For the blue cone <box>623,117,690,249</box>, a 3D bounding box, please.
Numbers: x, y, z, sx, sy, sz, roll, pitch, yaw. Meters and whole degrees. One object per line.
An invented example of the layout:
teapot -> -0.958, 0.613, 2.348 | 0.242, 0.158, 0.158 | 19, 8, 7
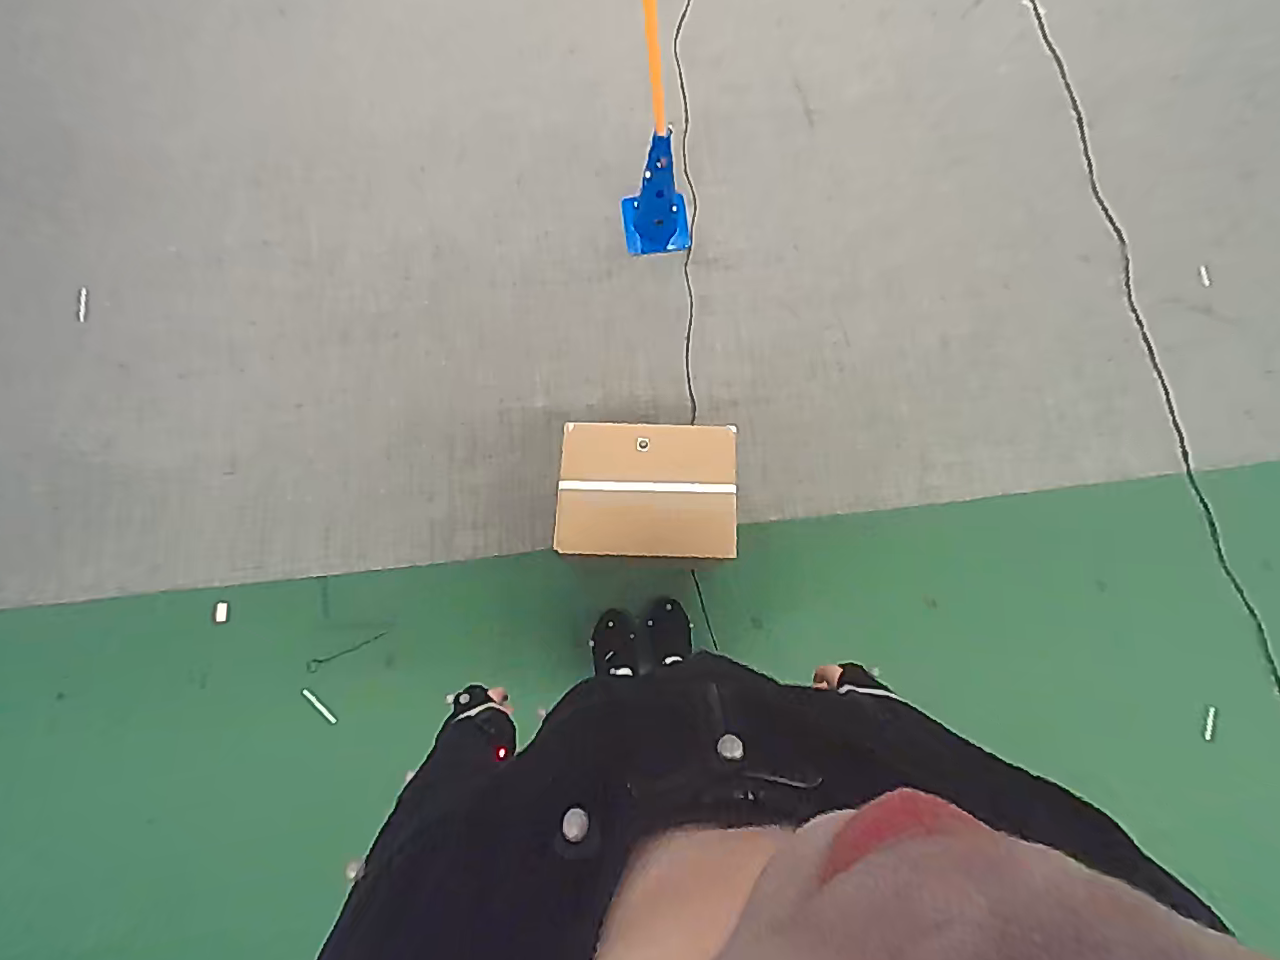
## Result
blue cone -> 0.052, -0.836, 1.512 | 0.193, 0.380, 0.192 | -10, 80, -1
